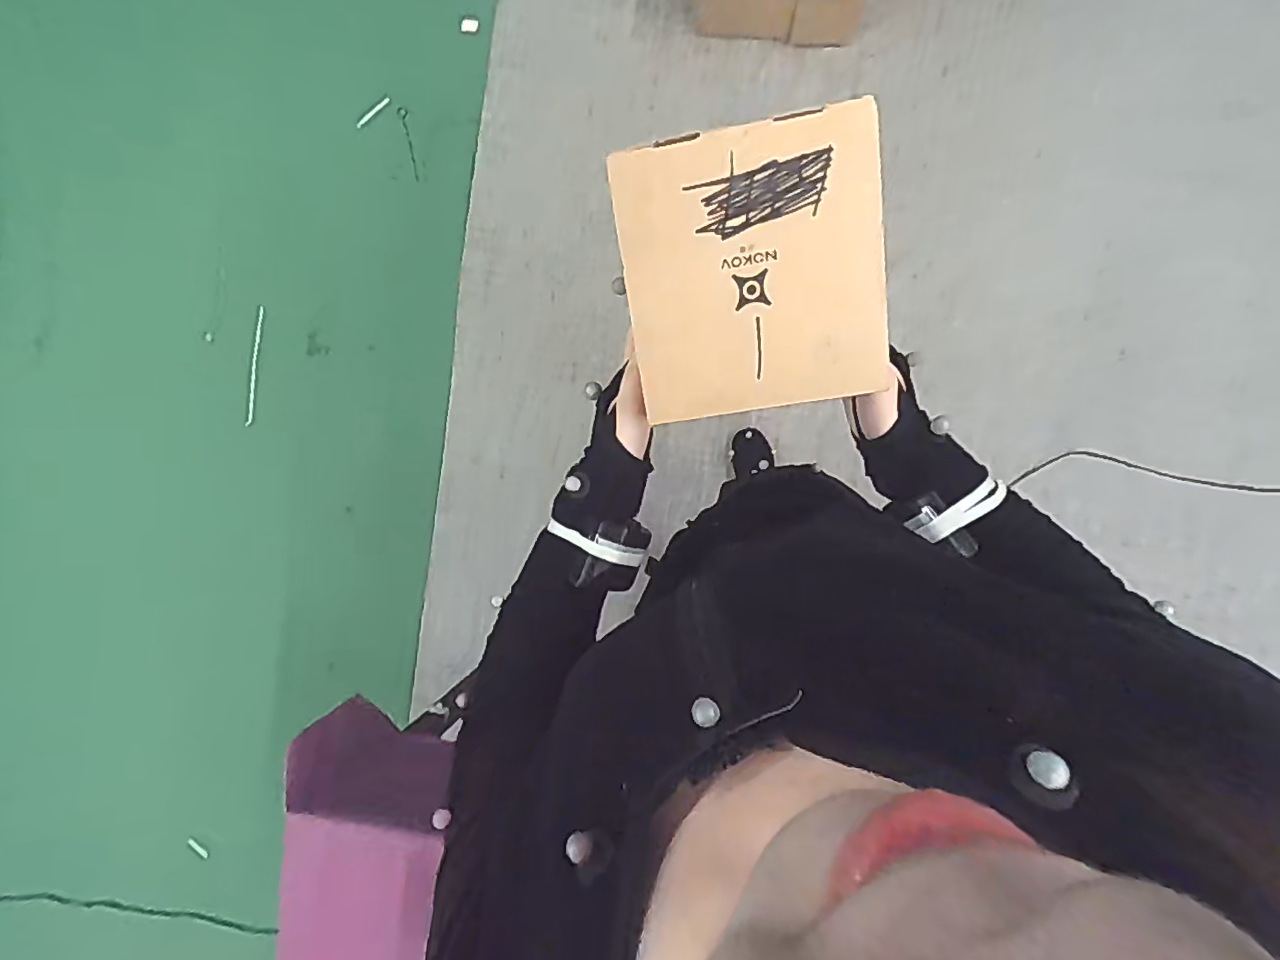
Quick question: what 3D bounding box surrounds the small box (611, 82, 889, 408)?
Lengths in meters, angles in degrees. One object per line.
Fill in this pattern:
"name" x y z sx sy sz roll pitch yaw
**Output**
"small box" 0.079 -0.161 0.422 0.168 0.176 0.179 -7 104 7
